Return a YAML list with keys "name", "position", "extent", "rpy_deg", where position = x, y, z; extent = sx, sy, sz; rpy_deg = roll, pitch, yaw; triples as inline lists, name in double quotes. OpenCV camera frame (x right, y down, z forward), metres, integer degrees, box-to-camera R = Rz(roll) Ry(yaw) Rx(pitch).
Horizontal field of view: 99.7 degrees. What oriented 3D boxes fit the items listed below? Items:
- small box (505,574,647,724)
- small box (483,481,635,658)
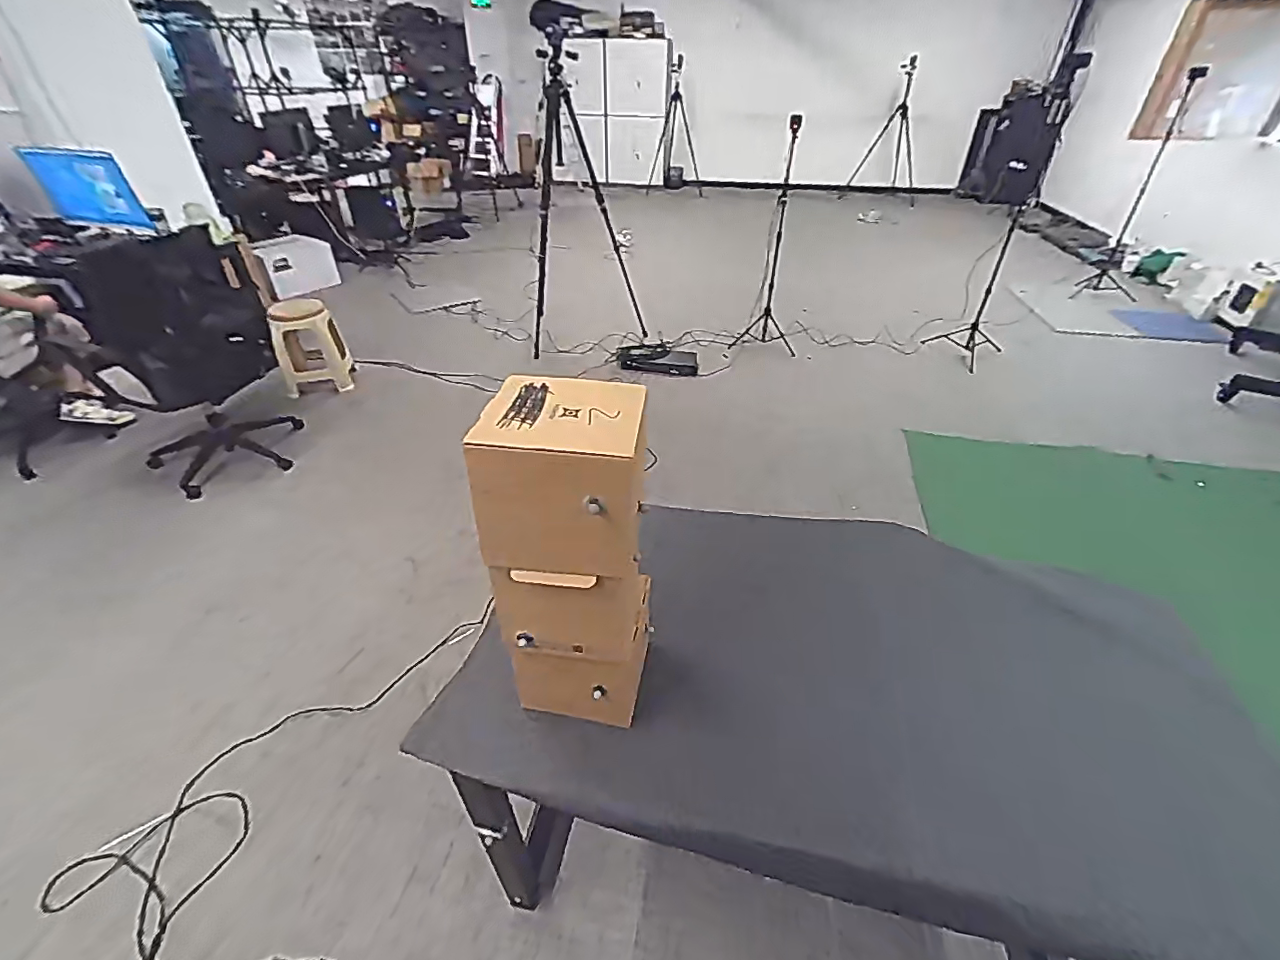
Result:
- name: "small box"
  position: [-0.087, 0.255, 0.844]
  extent: [0.179, 0.176, 0.168]
  rpy_deg: [5, 35, 9]
- name: "small box"
  position: [-0.098, 0.122, 0.747]
  extent: [0.168, 0.176, 0.179]
  rpy_deg: [4, 35, 5]
